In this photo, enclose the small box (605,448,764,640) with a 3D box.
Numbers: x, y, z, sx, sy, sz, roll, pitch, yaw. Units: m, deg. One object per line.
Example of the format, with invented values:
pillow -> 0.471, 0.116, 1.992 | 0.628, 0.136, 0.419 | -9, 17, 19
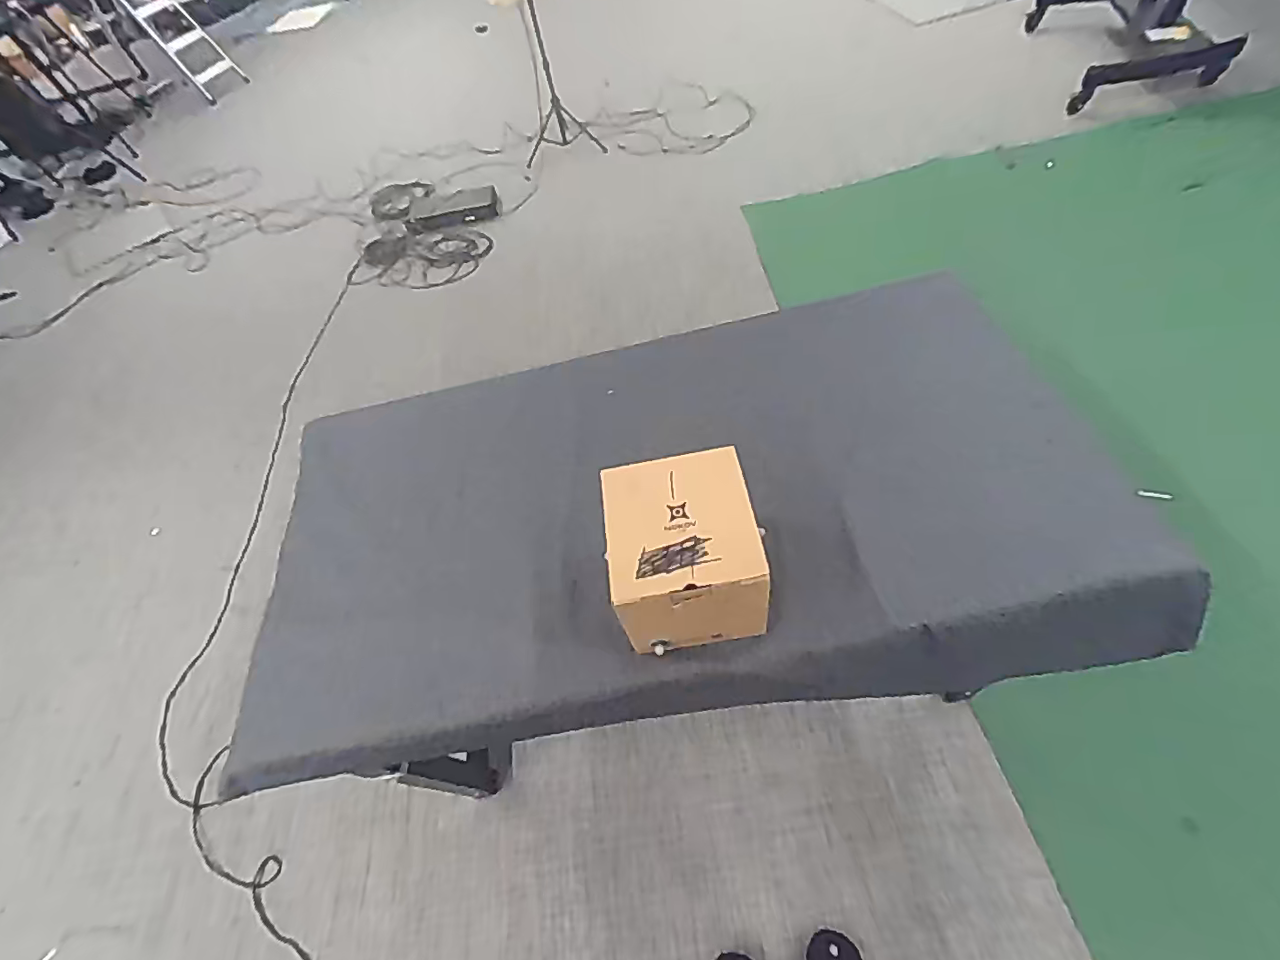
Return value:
small box -> 0.056, 0.088, 0.674 | 0.168, 0.176, 0.179 | -9, 54, 4
